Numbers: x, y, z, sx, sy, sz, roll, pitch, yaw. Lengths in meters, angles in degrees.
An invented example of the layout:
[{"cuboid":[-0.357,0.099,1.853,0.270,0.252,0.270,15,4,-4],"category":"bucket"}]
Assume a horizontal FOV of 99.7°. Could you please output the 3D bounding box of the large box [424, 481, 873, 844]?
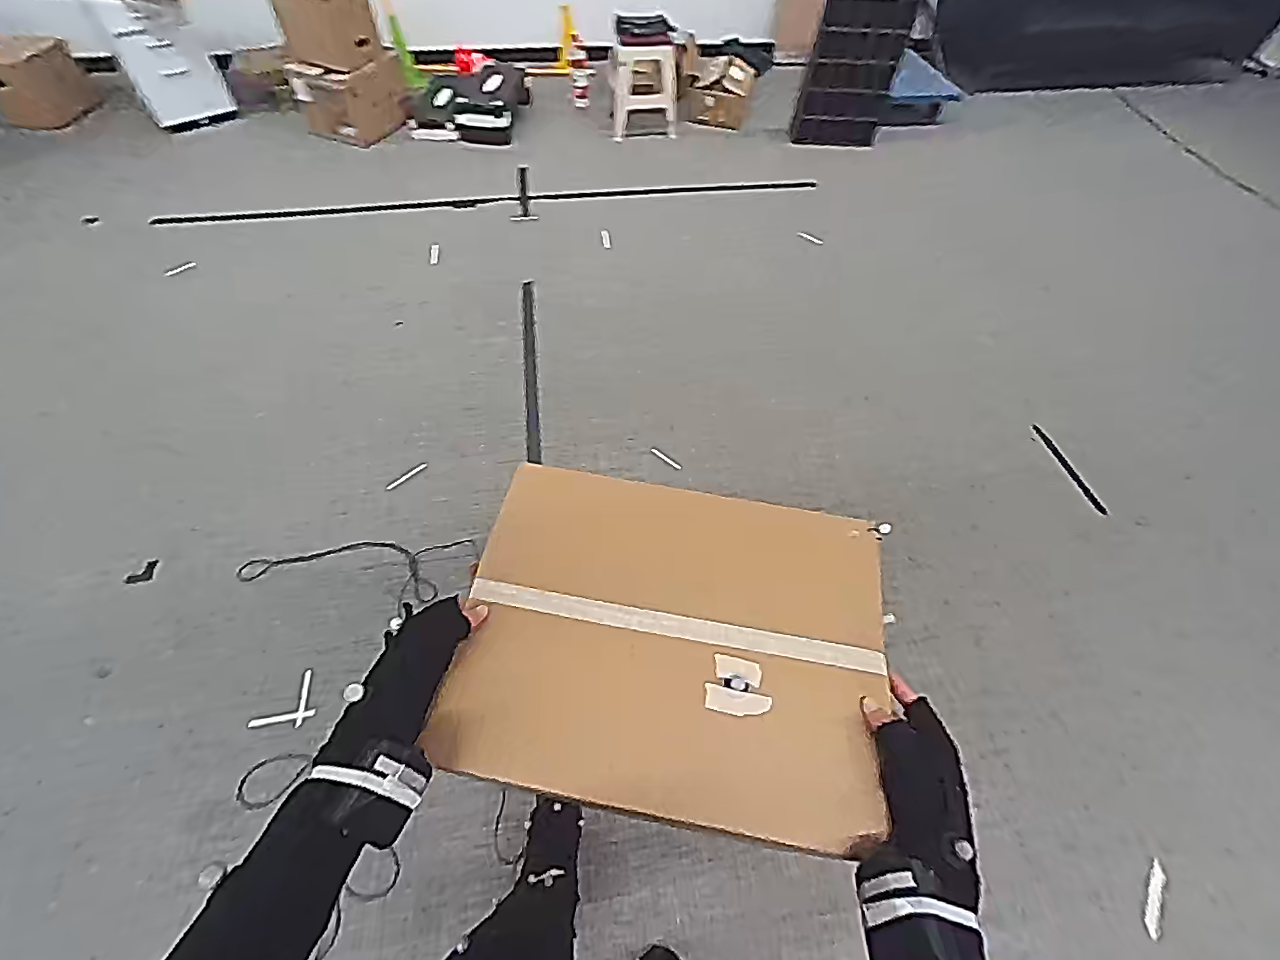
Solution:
[{"cuboid":[0.018,0.234,0.671,0.408,0.320,0.320,9,58,4],"category":"large box"}]
